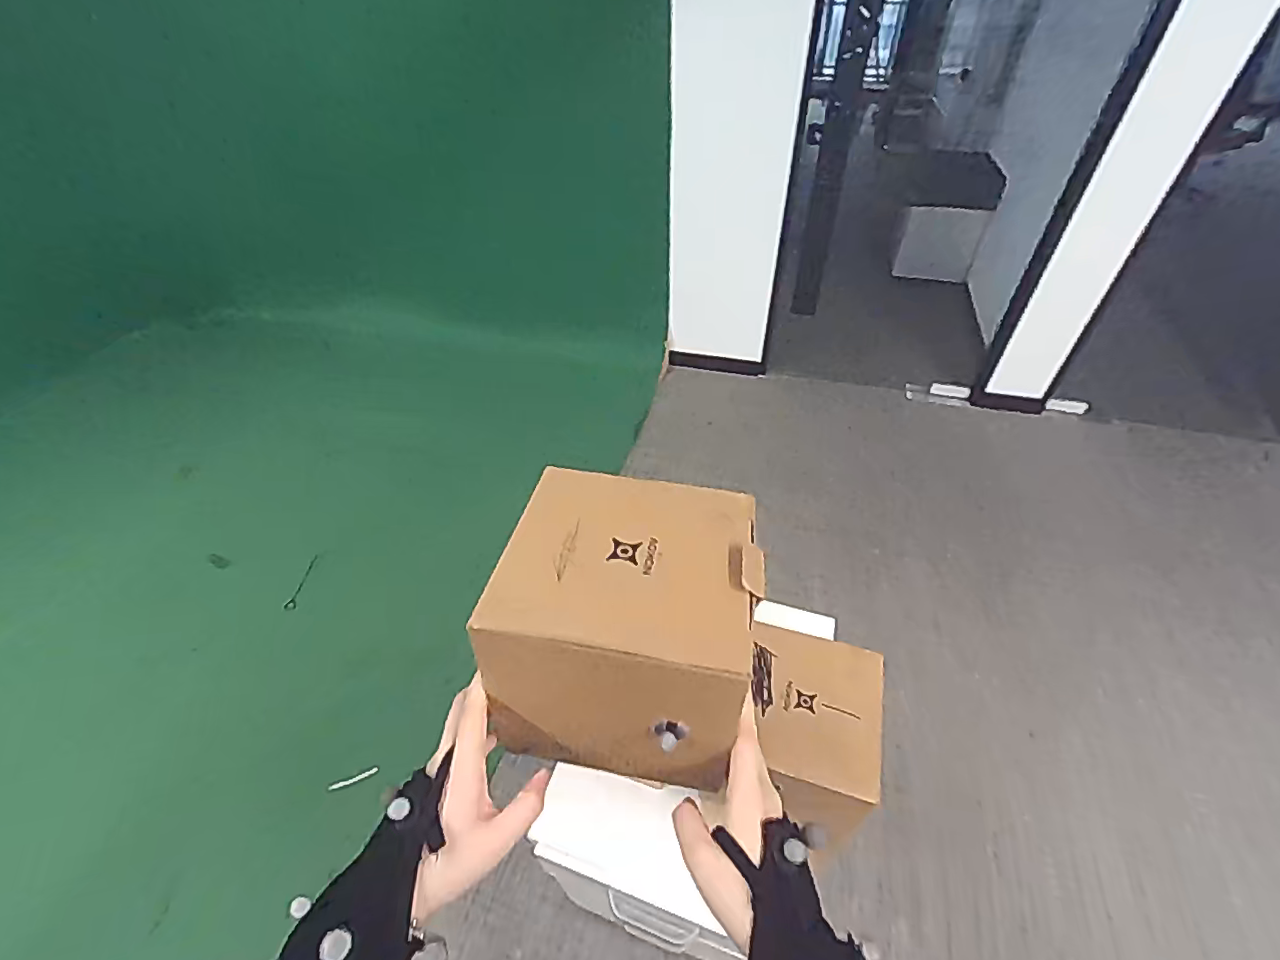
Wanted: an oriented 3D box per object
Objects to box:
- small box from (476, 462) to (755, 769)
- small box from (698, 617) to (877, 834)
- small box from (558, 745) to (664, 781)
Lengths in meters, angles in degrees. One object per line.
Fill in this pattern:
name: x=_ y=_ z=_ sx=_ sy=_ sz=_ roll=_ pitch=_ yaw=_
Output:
small box: x=-0.008 y=0.109 z=0.443 sx=0.179 sy=0.176 sz=0.168 roll=7 pitch=38 yaw=7
small box: x=0.172 y=0.295 z=0.653 sx=0.179 sy=0.176 sz=0.168 roll=12 pitch=46 yaw=15
small box: x=-0.030 y=0.342 z=0.847 sx=0.179 sy=0.176 sz=0.168 roll=13 pitch=46 yaw=12
